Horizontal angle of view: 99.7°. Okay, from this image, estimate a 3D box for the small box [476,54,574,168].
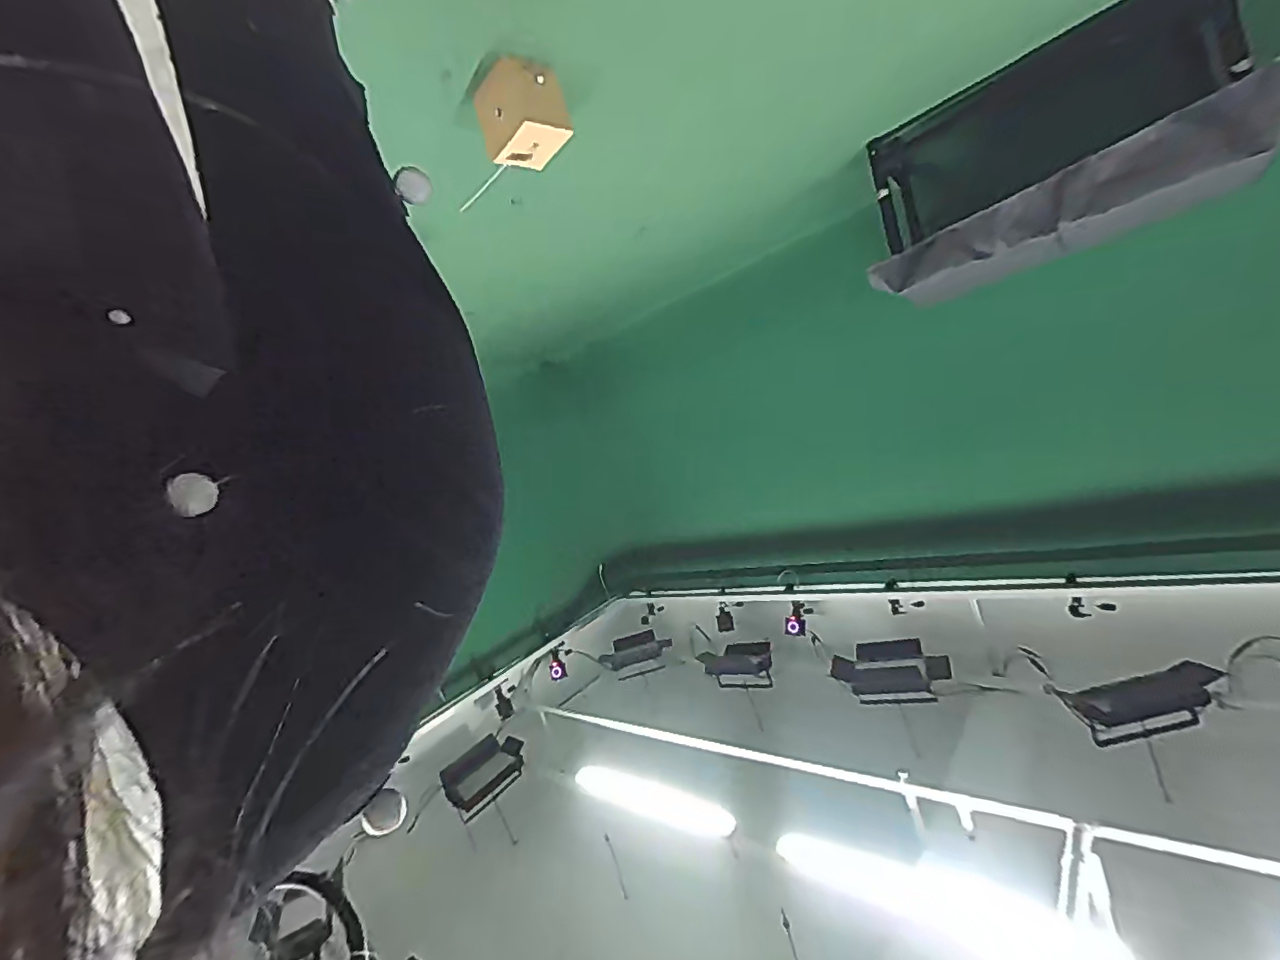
[{"bbox_3d":[-0.307,-0.957,1.417,0.179,0.176,0.168,-15,-173,46],"label":"small box"}]
